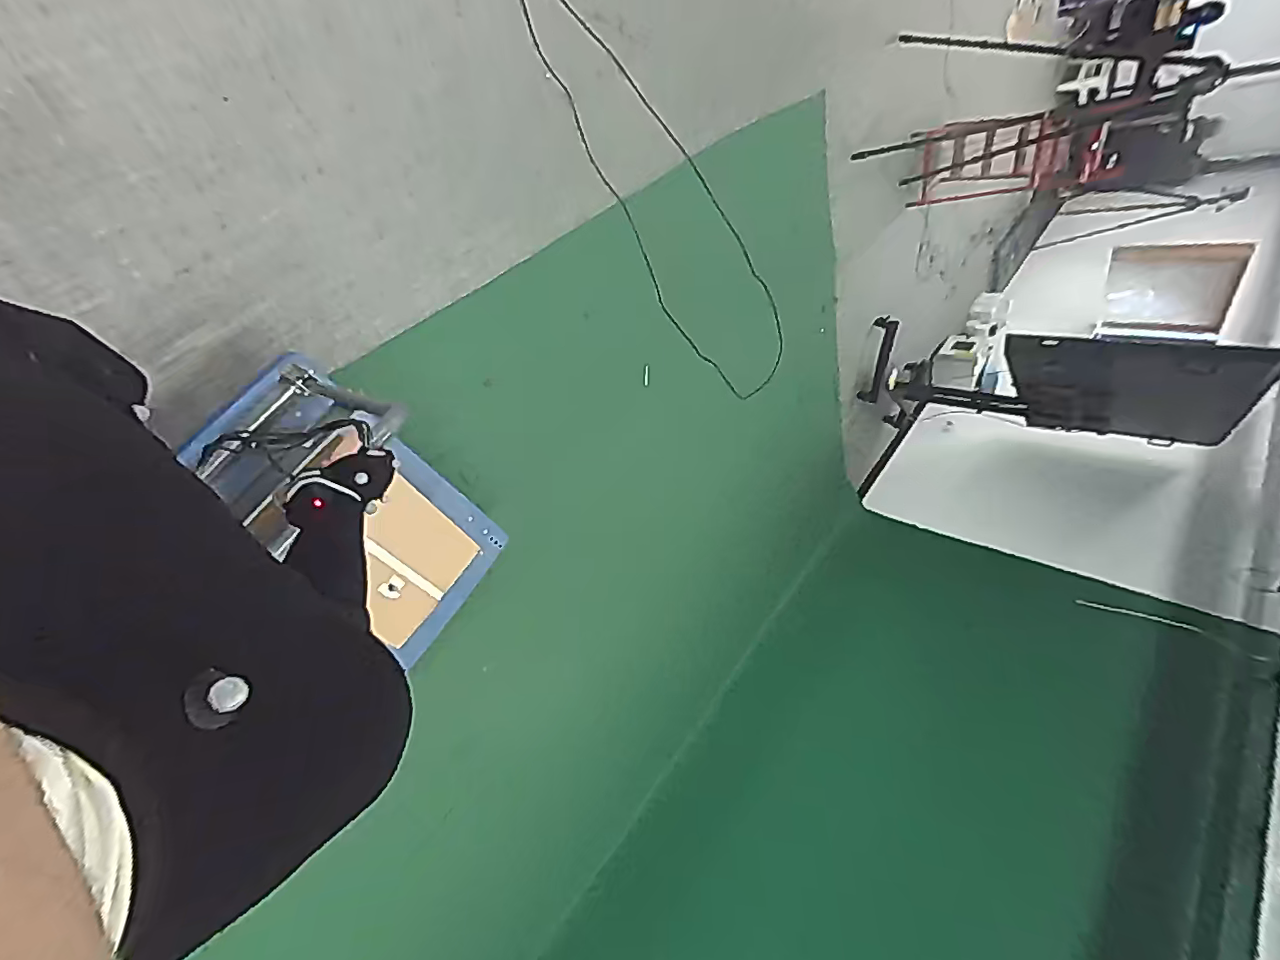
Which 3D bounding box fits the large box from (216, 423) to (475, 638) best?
[{"bbox_3d":[-0.704,0.120,1.327,0.320,0.320,0.408,-53,138,-21],"label":"large box"}]
